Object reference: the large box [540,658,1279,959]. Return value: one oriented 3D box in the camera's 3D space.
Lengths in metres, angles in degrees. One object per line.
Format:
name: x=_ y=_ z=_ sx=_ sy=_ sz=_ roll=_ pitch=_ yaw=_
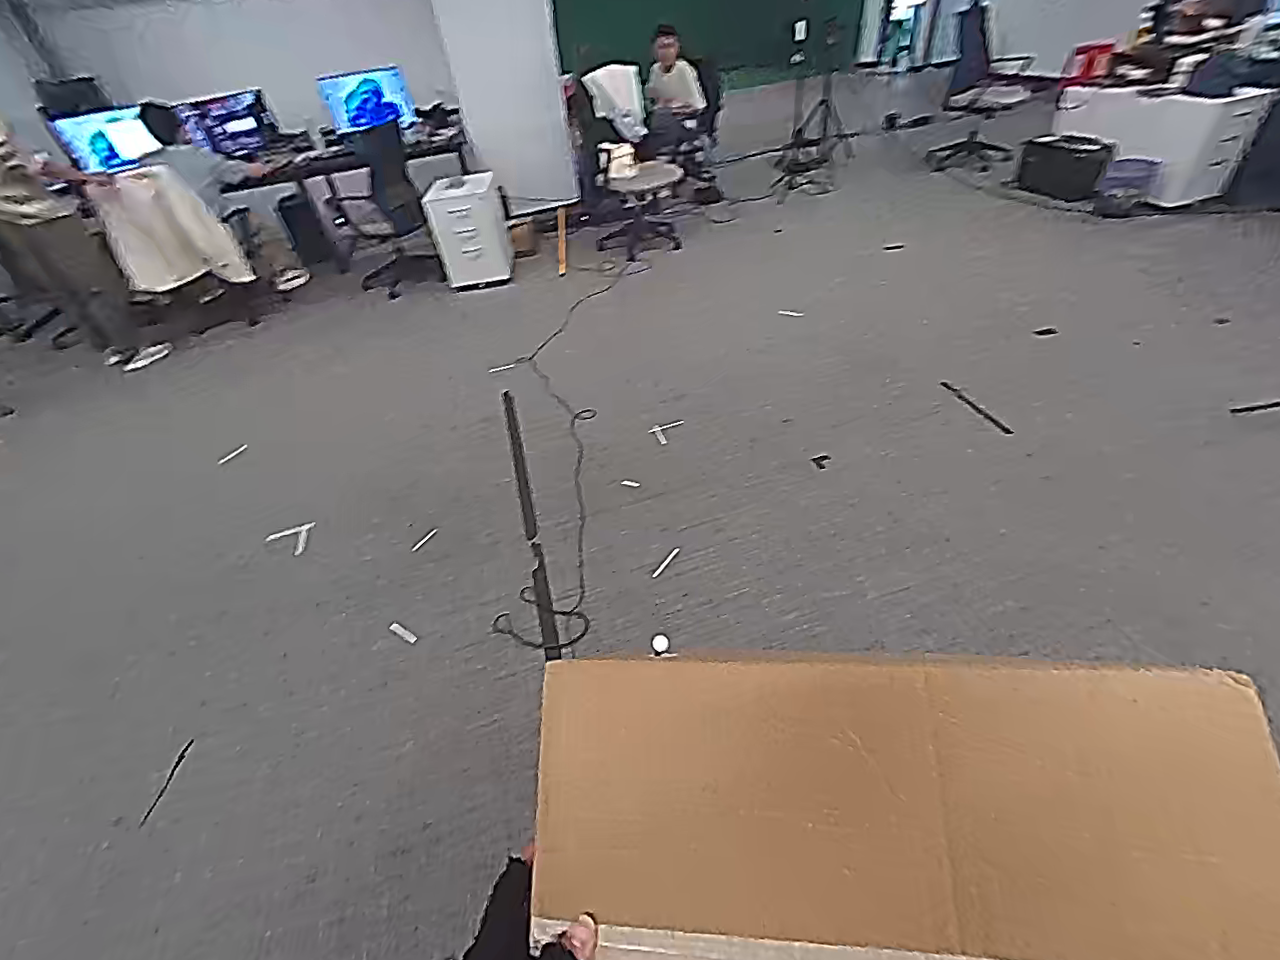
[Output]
large box: x=0.158 y=0.312 z=0.439 sx=0.408 sy=0.320 sz=0.320 roll=-4 pitch=74 yaw=10
